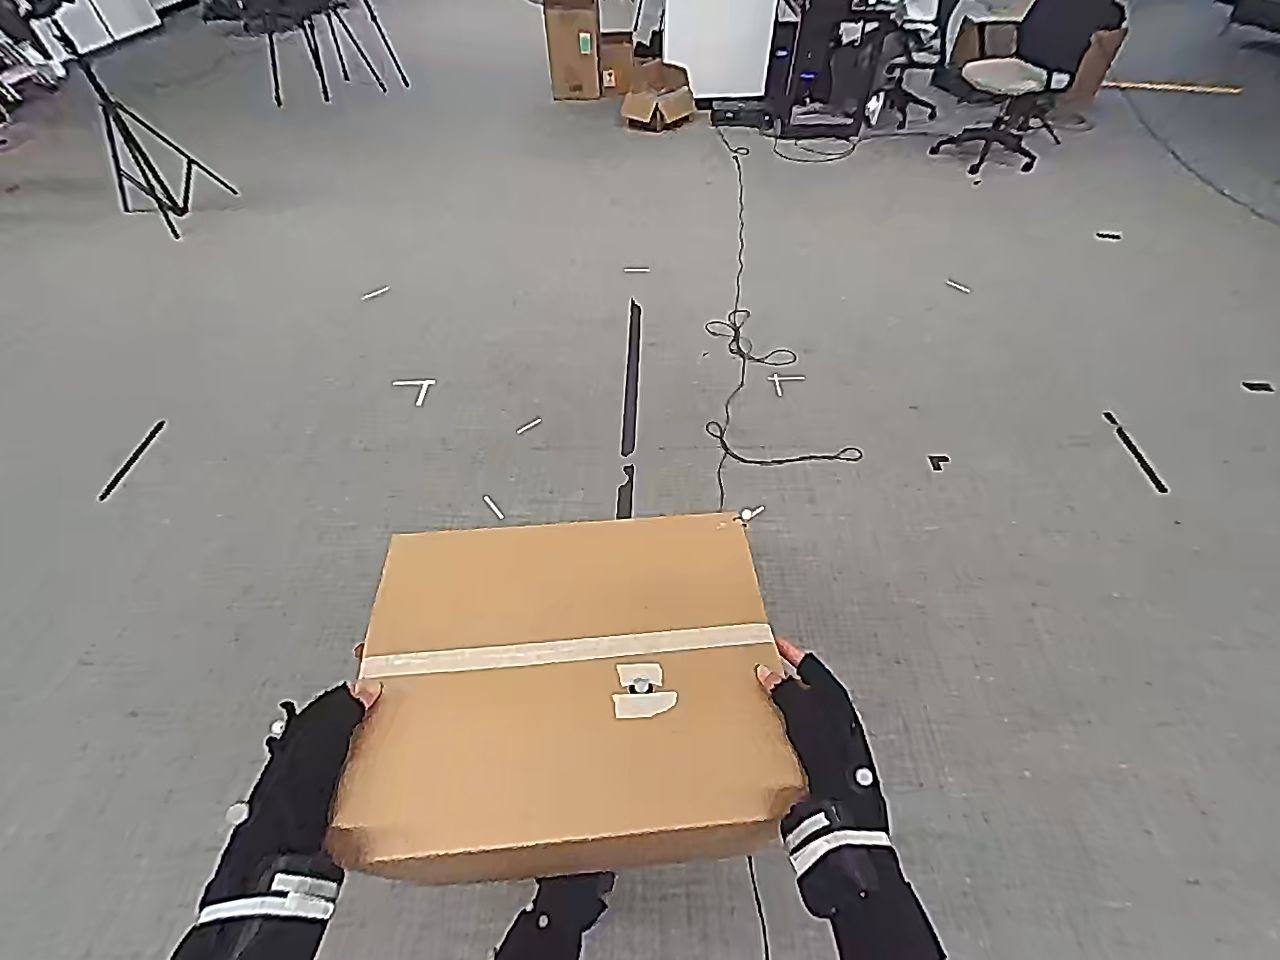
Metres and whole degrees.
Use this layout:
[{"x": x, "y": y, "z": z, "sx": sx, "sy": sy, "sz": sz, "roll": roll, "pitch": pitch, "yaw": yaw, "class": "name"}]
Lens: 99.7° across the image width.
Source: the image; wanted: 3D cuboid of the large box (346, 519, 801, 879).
[{"x": -0.070, "y": 0.273, "z": 0.673, "sx": 0.408, "sy": 0.320, "sz": 0.320, "roll": -3, "pitch": 51, "yaw": -4, "class": "large box"}]
